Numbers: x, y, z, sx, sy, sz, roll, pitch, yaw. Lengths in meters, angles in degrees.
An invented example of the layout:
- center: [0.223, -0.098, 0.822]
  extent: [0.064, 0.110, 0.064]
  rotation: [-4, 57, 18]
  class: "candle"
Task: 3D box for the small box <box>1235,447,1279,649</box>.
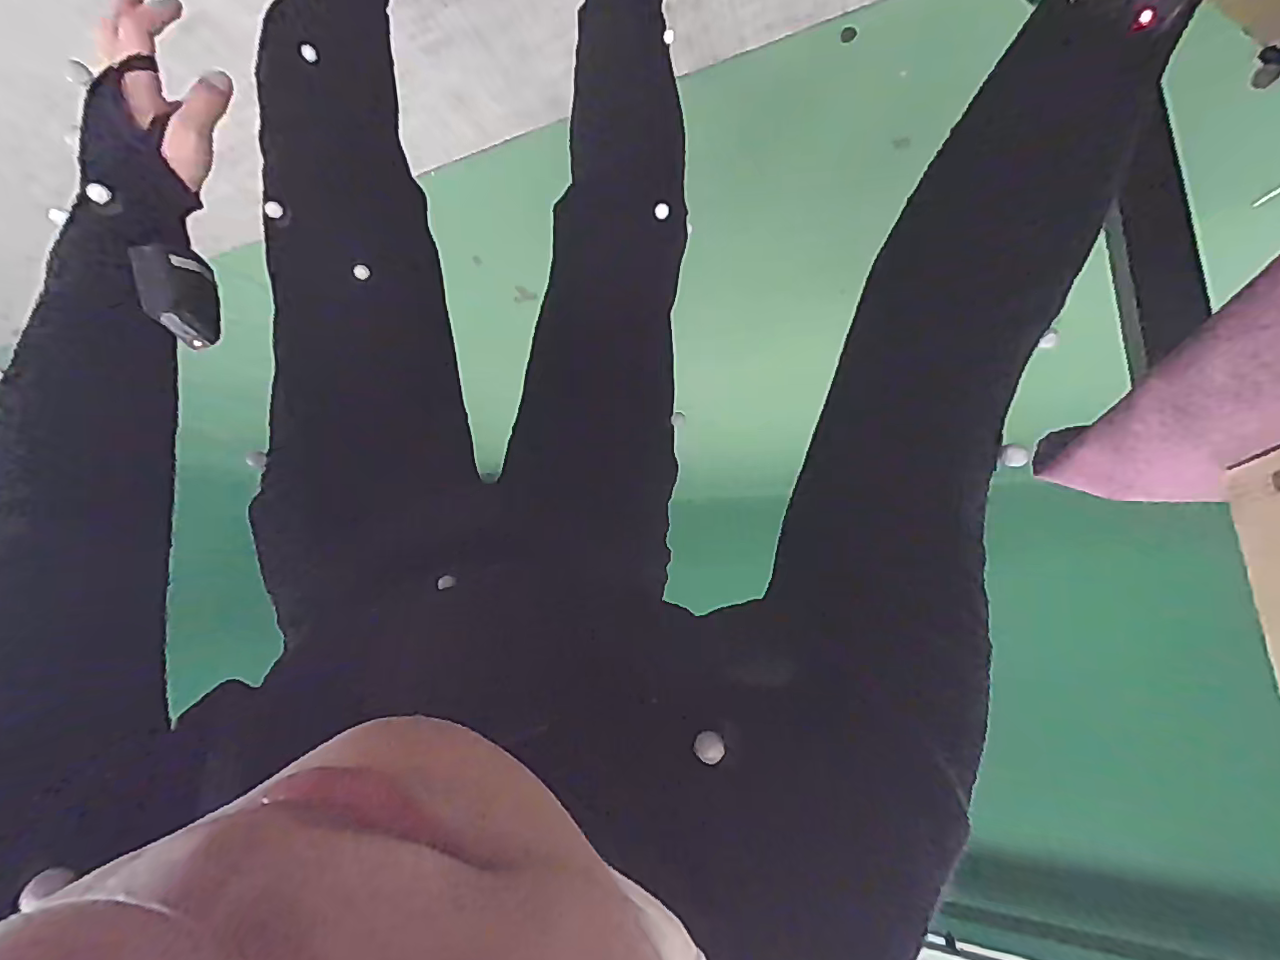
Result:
- center: [0.493, 0.041, 0.286]
  extent: [0.179, 0.176, 0.168]
  rotation: [-6, 163, 22]
  class: "small box"
